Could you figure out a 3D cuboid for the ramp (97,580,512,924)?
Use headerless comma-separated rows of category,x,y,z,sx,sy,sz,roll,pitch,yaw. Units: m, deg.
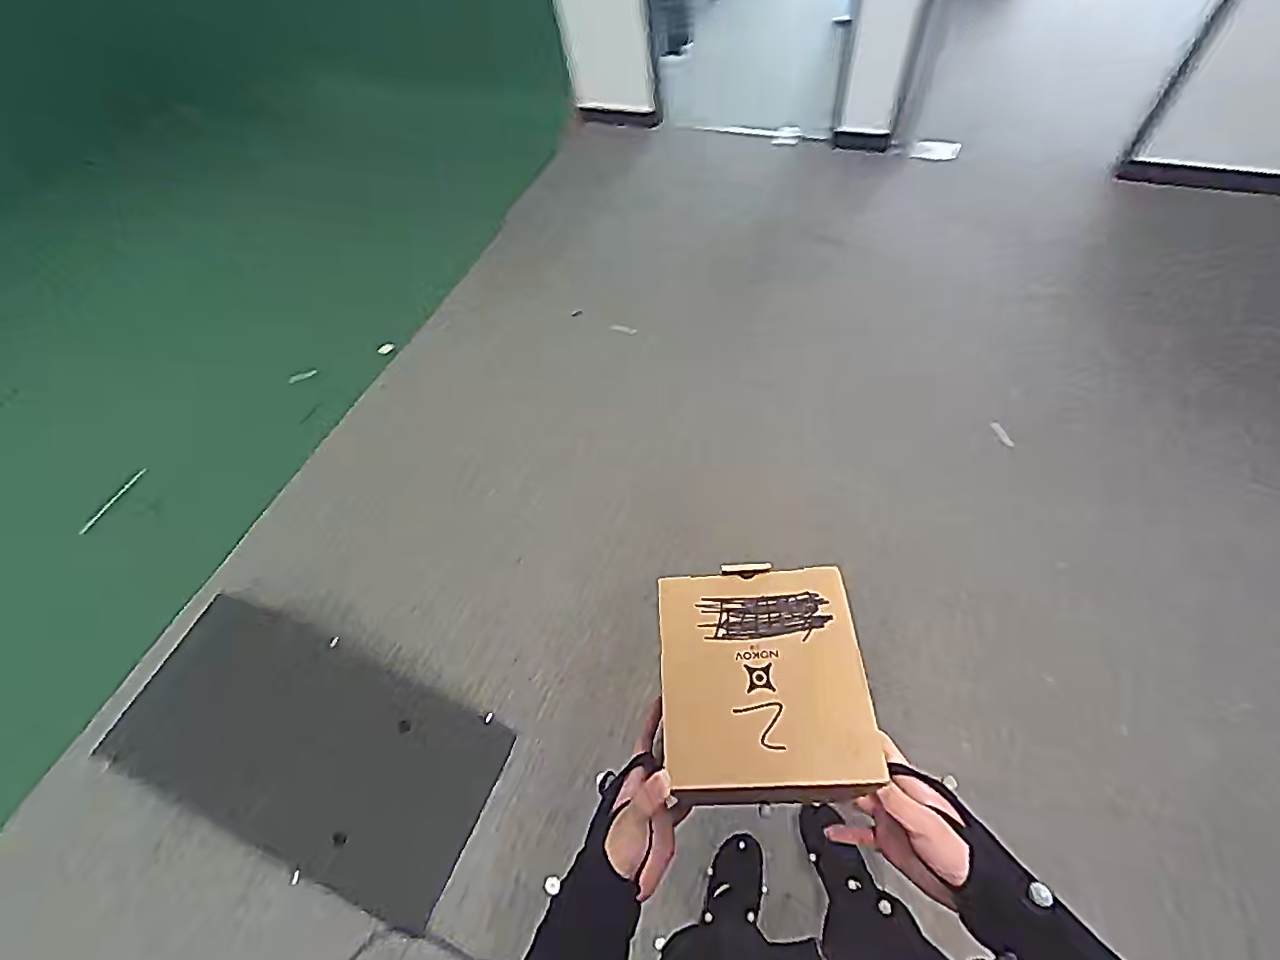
ramp,-0.895,0.685,1.470,0.991,0.206,0.509,17,63,17
